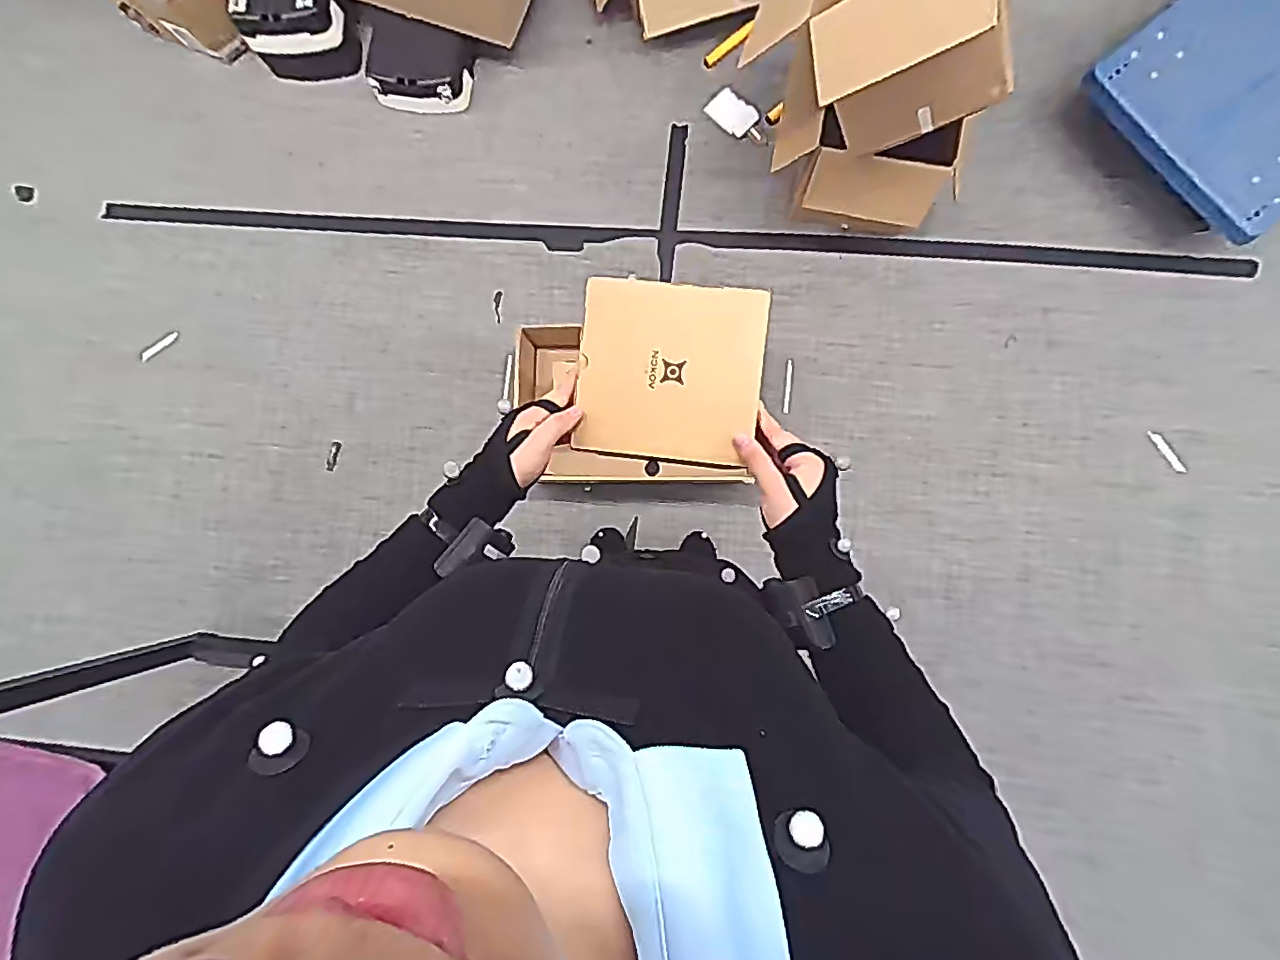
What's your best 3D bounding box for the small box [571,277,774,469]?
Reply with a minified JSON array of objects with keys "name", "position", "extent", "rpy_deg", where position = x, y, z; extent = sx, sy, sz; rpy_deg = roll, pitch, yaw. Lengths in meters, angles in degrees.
[{"name":"small box","position":[0.036,-0.104,0.585],"extent":[0.179,0.176,0.168],"rpy_deg":[6,92,6]}]
